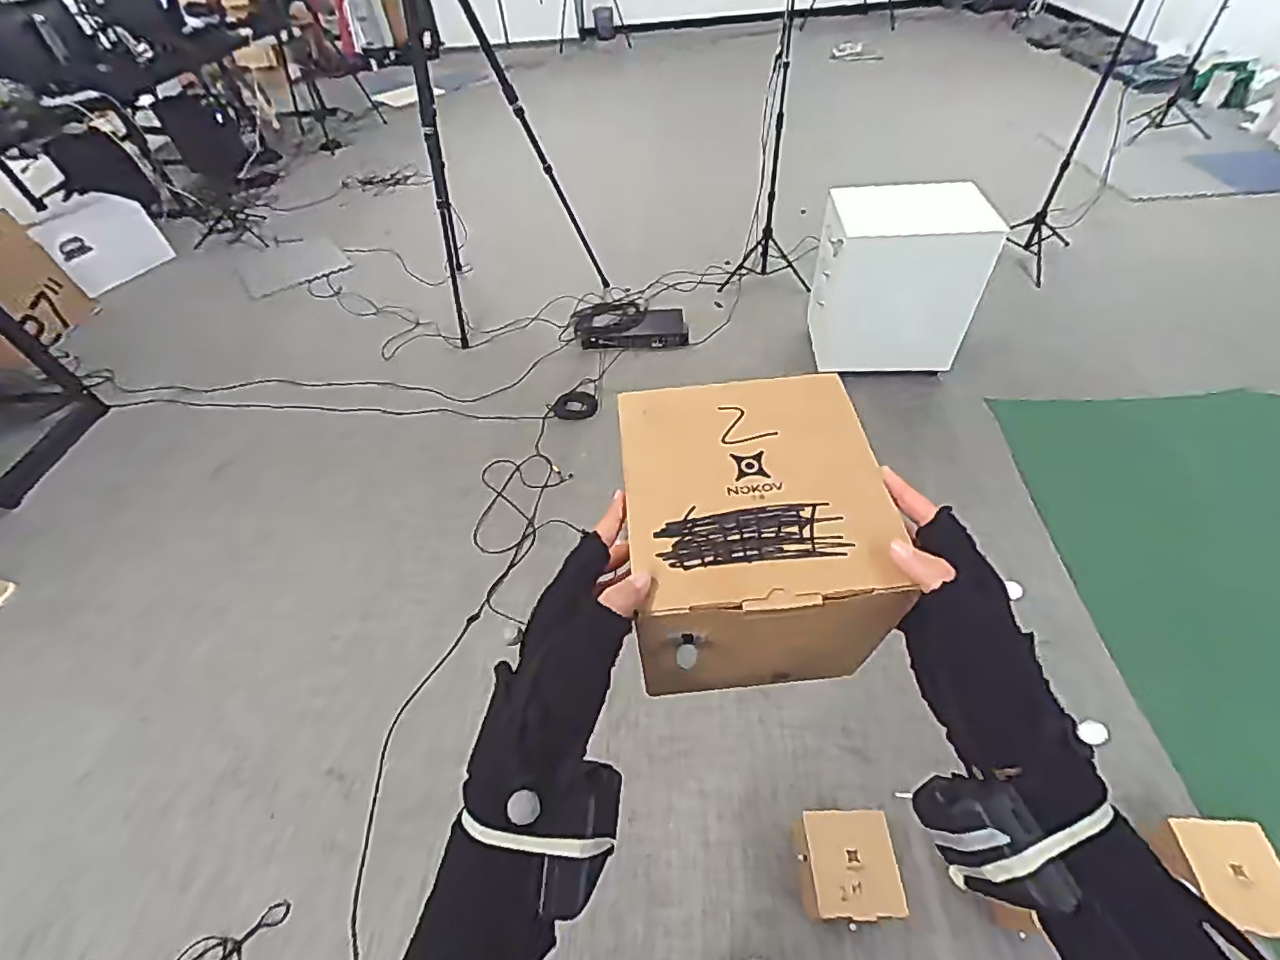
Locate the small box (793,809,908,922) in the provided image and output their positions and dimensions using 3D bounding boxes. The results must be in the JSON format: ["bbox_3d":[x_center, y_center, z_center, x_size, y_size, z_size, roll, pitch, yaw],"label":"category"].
[{"bbox_3d":[0.421,0.797,1.117,0.168,0.176,0.179,-3,49,4],"label":"small box"}]

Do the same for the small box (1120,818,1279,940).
[{"bbox_3d":[1.119,0.790,1.070,0.168,0.176,0.179,0,49,5],"label":"small box"}]

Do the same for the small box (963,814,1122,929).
[{"bbox_3d":[0.796,0.793,1.093,0.168,0.176,0.179,-4,48,1],"label":"small box"}]
